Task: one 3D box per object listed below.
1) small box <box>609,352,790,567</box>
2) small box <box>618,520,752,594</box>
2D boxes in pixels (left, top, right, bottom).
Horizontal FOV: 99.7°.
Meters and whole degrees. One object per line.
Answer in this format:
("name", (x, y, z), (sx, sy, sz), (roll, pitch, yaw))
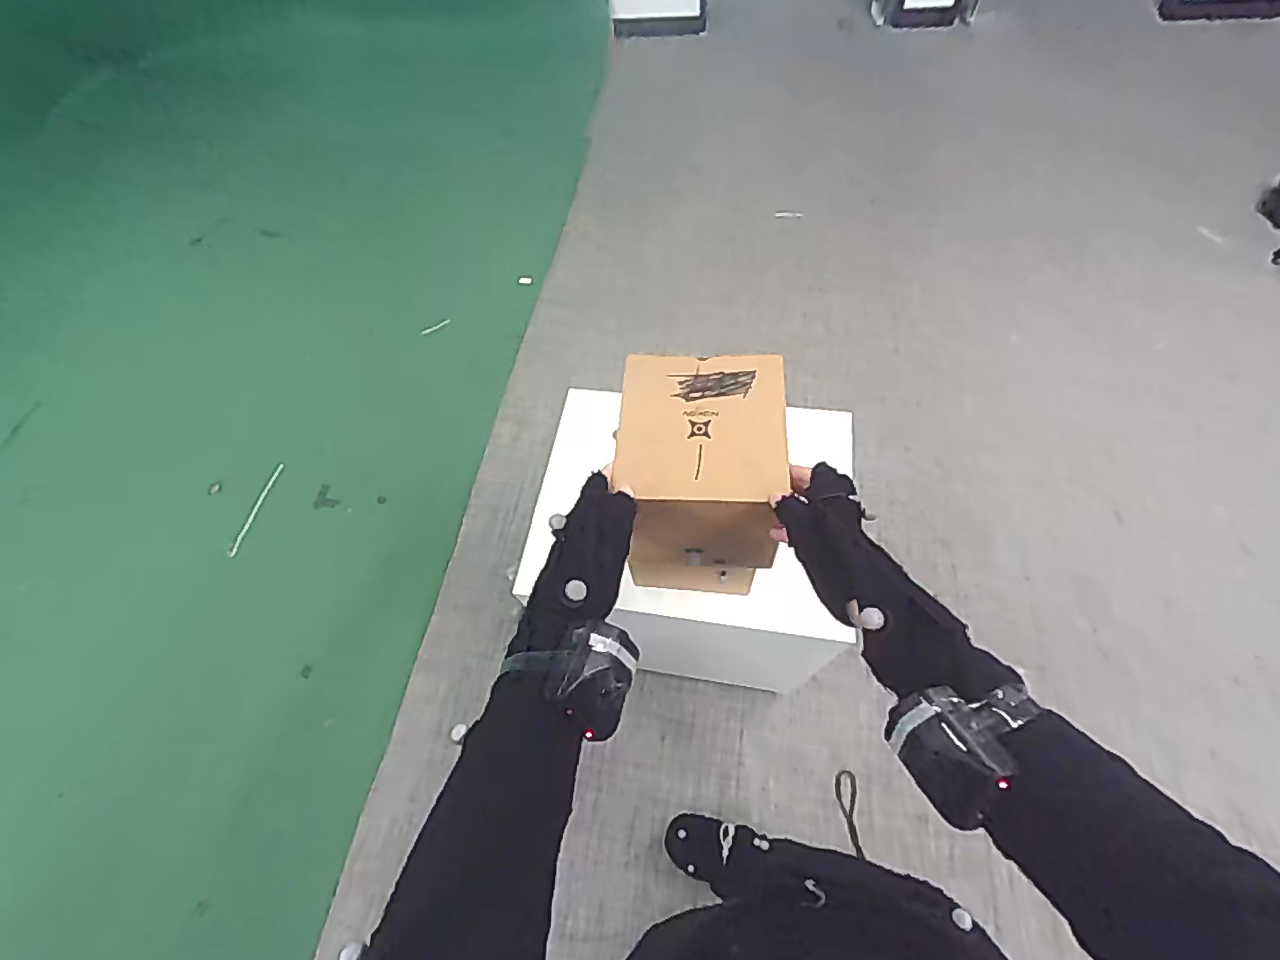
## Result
("small box", (0.064, -0.017, 0.596), (0.168, 0.176, 0.179), (-2, 59, 7))
("small box", (0.074, 0.057, 0.772), (0.179, 0.176, 0.168), (2, 61, 9))
